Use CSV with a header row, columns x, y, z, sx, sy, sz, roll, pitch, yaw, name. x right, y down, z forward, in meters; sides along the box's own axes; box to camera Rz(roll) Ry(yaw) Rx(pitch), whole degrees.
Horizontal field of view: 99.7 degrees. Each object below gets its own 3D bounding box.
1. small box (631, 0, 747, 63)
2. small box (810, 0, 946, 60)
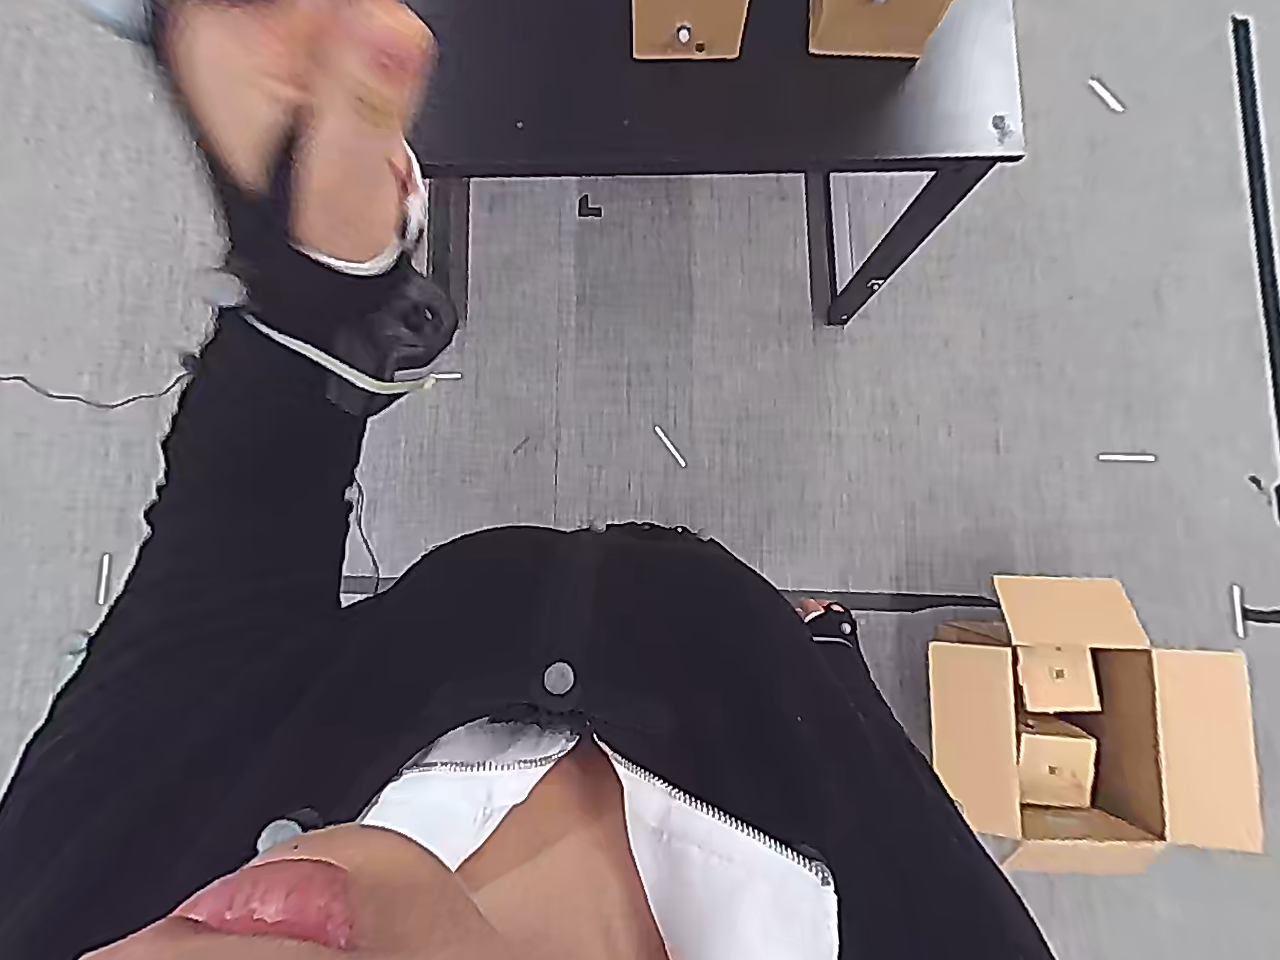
x,y,z,sx,sy,sz,roll,pitch,yaw,name
0.071,-0.753,0.779,0.168,0.176,0.179,1,85,1,small box
0.352,-0.748,0.775,0.179,0.176,0.168,3,84,2,small box
